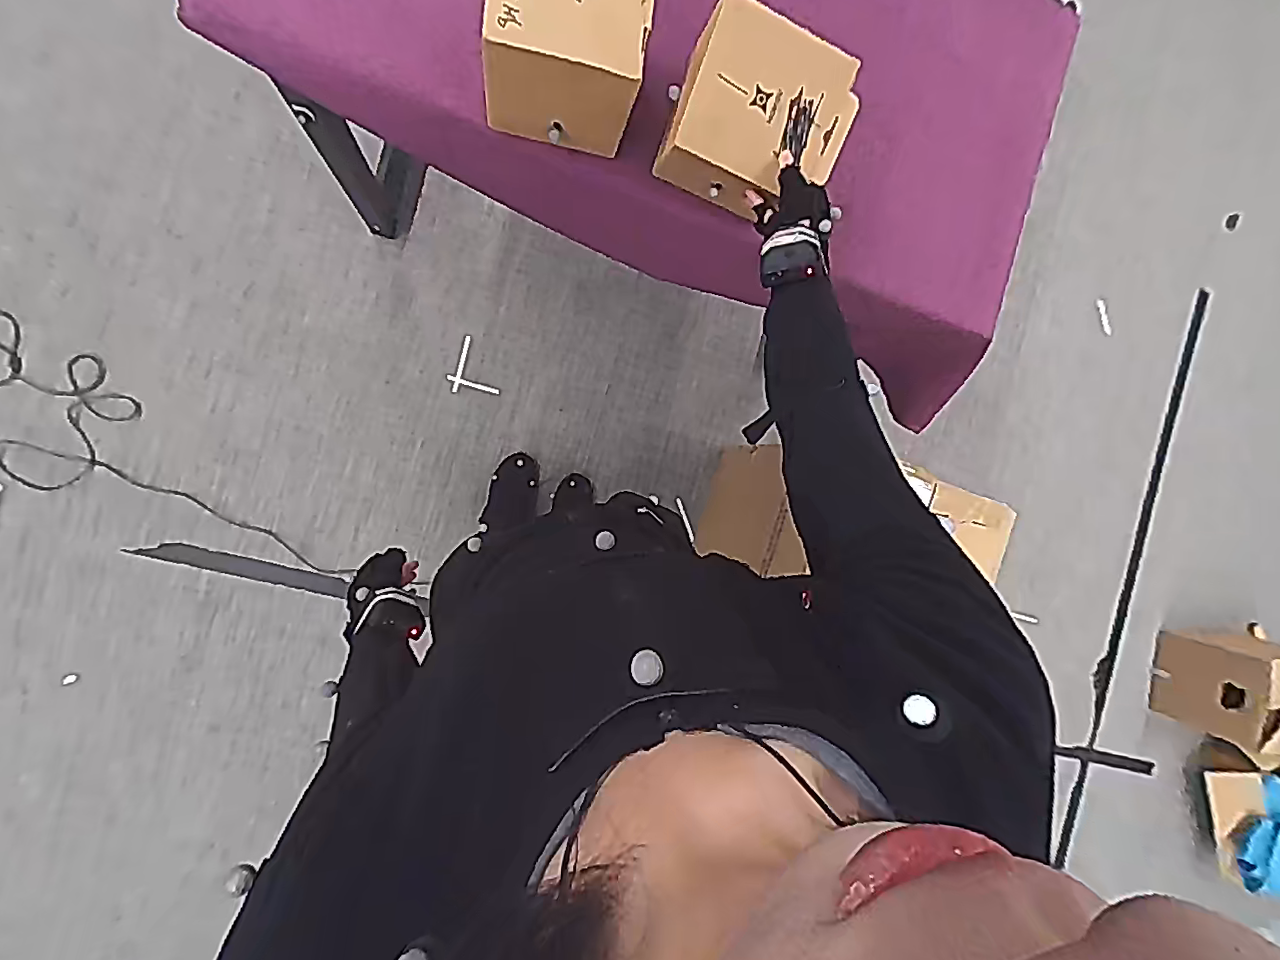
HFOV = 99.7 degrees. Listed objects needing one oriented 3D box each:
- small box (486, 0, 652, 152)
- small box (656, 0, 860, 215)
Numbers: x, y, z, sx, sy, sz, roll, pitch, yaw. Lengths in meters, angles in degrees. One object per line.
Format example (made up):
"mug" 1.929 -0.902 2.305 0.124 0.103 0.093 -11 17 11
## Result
"small box" -0.091 -0.540 0.664 0.179 0.176 0.168 5 91 -15
"small box" 0.137 -0.464 0.700 0.179 0.176 0.168 18 104 -13
